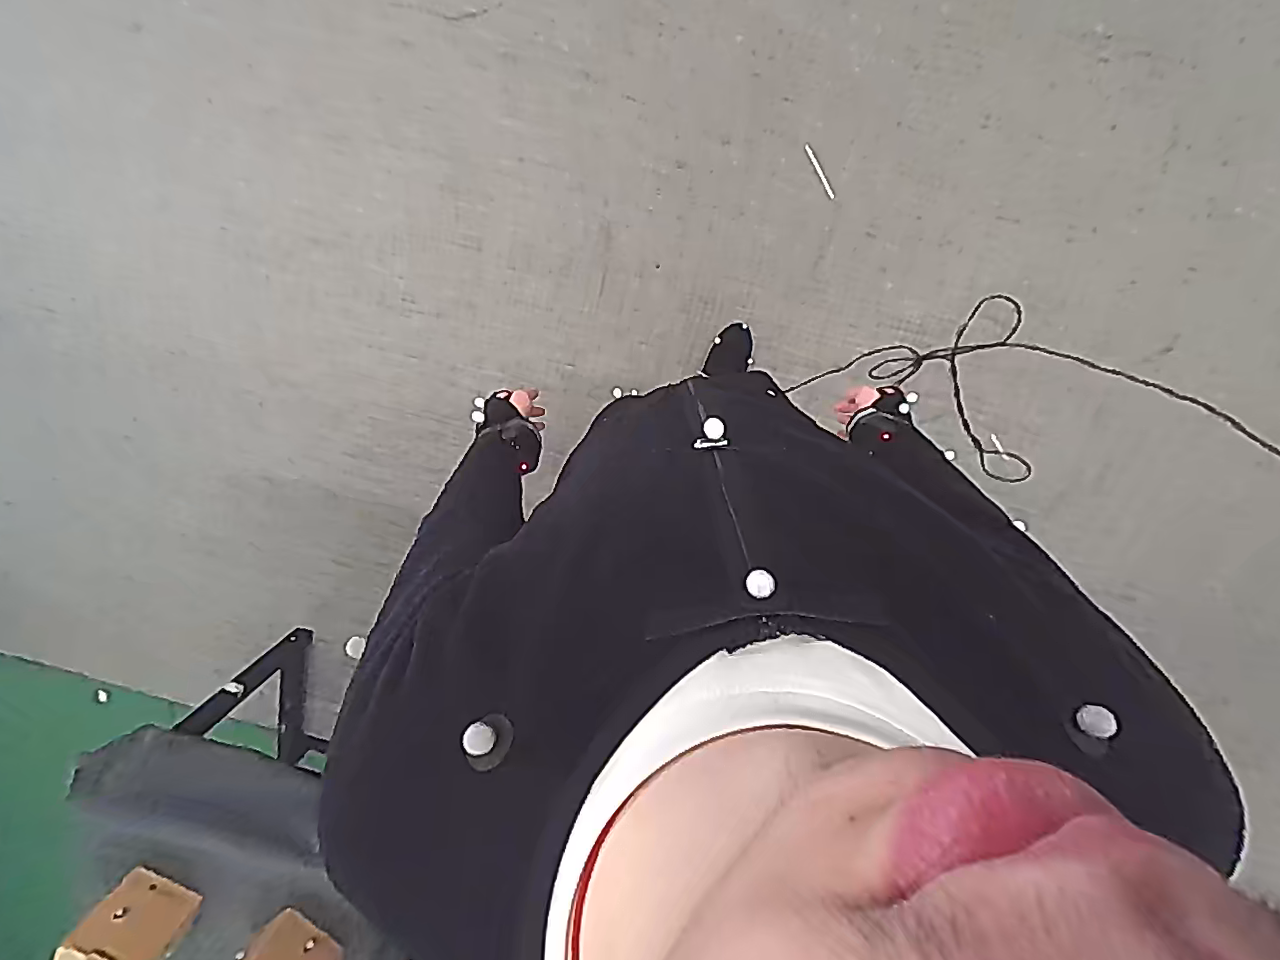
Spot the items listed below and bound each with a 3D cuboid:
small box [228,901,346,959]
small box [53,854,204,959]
[{"bbox_3d":[-0.803,1.077,1.189,0.168,0.176,0.179,-40,98,15],"label":"small box"},{"bbox_3d":[-1.120,0.981,1.193,0.168,0.176,0.179,32,108,-3],"label":"small box"}]
